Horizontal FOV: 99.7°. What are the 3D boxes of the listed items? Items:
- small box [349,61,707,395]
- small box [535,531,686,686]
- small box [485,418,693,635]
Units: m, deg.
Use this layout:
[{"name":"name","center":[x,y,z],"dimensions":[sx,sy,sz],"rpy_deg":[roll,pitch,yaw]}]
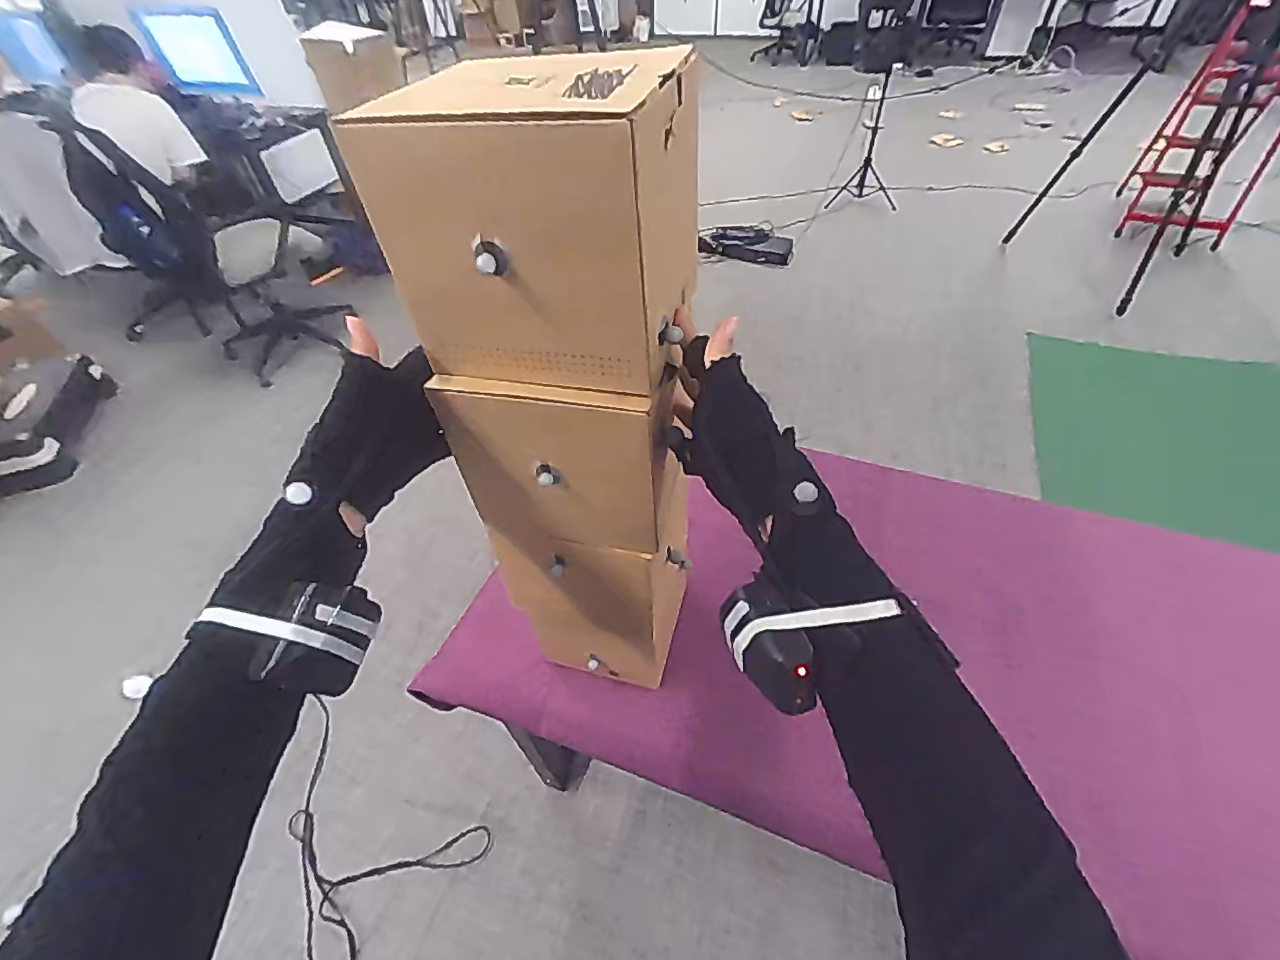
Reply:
[{"name":"small box","center":[-0.054,-0.180,0.391],"dimensions":[0.179,0.176,0.168],"rpy_deg":[9,48,13]},{"name":"small box","center":[-0.039,0.154,0.753],"dimensions":[0.168,0.176,0.179],"rpy_deg":[12,49,12]},{"name":"small box","center":[-0.045,0.057,0.622],"dimensions":[0.179,0.176,0.168],"rpy_deg":[12,49,13]}]
